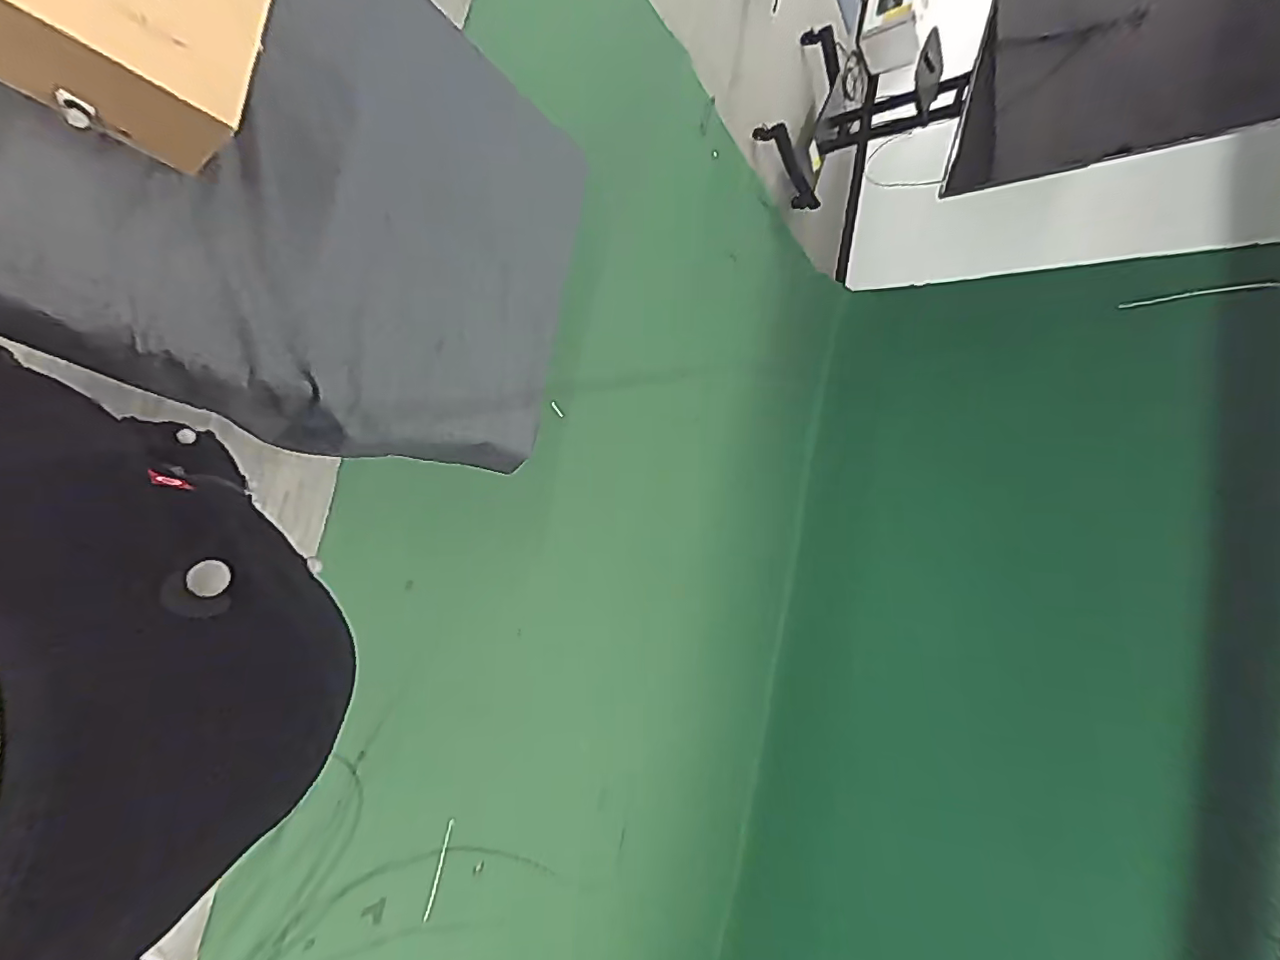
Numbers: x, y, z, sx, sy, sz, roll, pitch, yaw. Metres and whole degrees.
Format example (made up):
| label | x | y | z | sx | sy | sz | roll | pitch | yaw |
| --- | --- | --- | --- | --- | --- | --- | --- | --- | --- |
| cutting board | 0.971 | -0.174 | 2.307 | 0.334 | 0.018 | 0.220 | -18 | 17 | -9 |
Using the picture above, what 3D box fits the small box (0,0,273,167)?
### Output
| label | x | y | z | sx | sy | sz | roll | pitch | yaw |
| --- | --- | --- | --- | --- | --- | --- | --- | --- | --- |
| small box | -0.472 | -0.434 | 0.501 | 0.168 | 0.176 | 0.179 | 14 | 85 | -51 |
